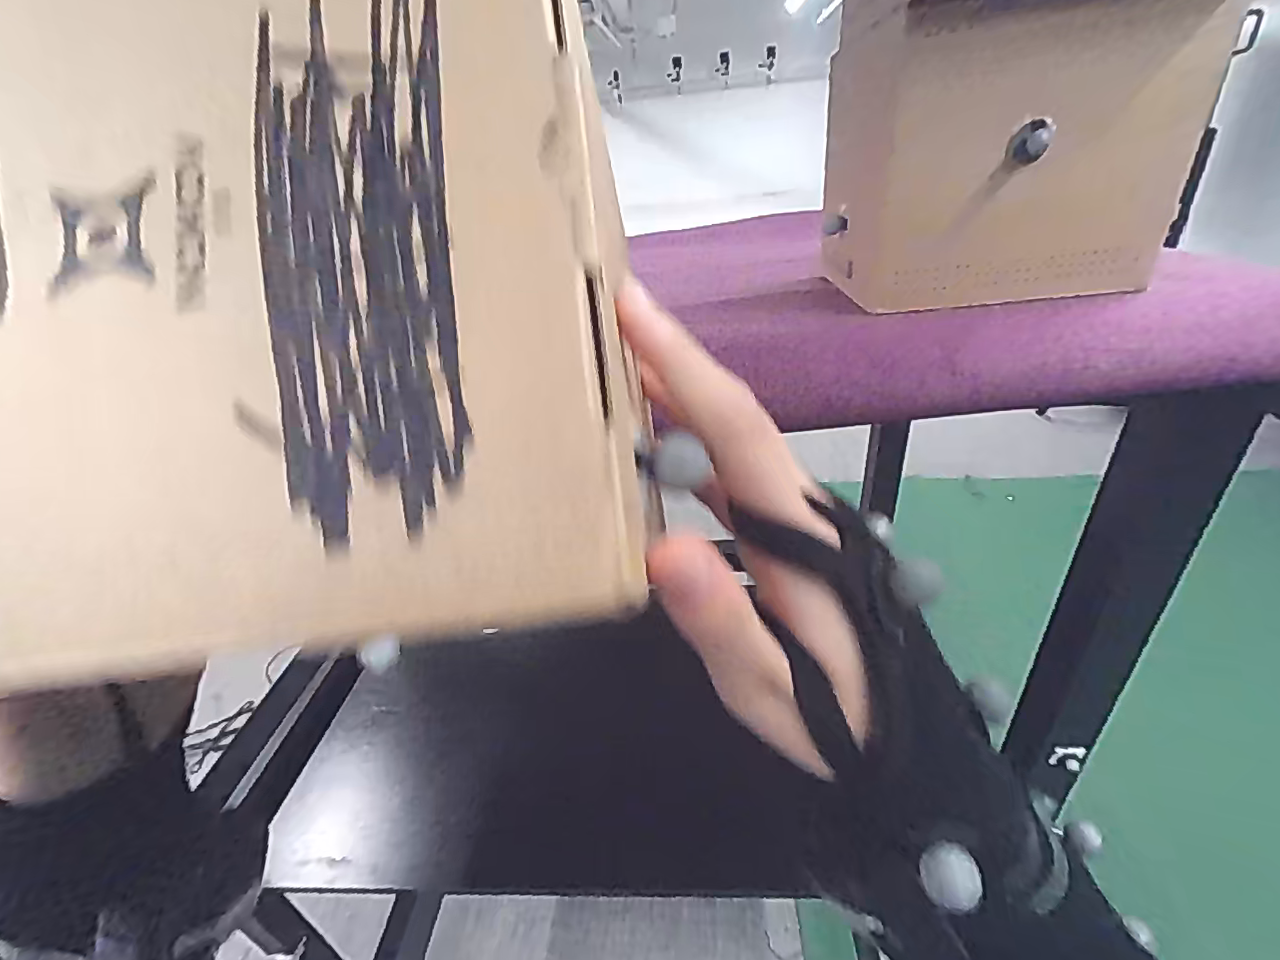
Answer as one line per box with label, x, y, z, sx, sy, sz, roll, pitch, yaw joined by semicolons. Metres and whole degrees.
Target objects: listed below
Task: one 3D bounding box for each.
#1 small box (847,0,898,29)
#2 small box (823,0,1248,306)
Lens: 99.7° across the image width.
small box;0.224;-0.363;0.286;0.179;0.176;0.168;-4;30;6
small box;0.240;-0.233;0.386;0.179;0.176;0.168;-4;30;7
